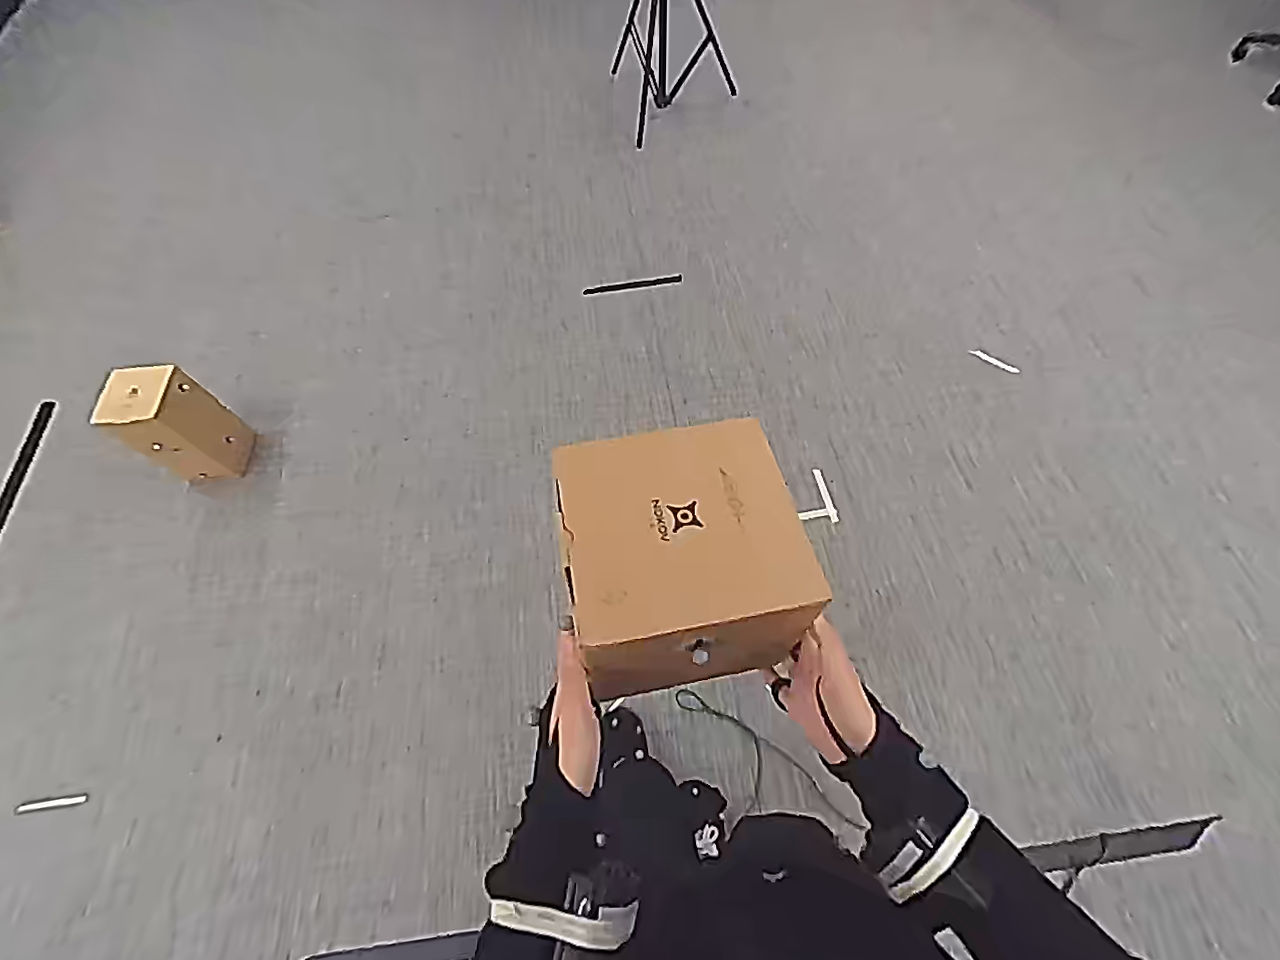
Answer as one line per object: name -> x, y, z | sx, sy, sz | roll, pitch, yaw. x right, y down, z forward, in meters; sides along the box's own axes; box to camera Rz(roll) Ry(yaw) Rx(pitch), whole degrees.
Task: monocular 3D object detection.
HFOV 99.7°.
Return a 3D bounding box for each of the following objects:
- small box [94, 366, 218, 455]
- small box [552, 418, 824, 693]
small box -> -1.304, -0.187, 1.474 | 0.168, 0.176, 0.179 | -5, 64, 0
small box -> 0.028, 0.072, 0.470 | 0.179, 0.176, 0.168 | -9, 58, -8
